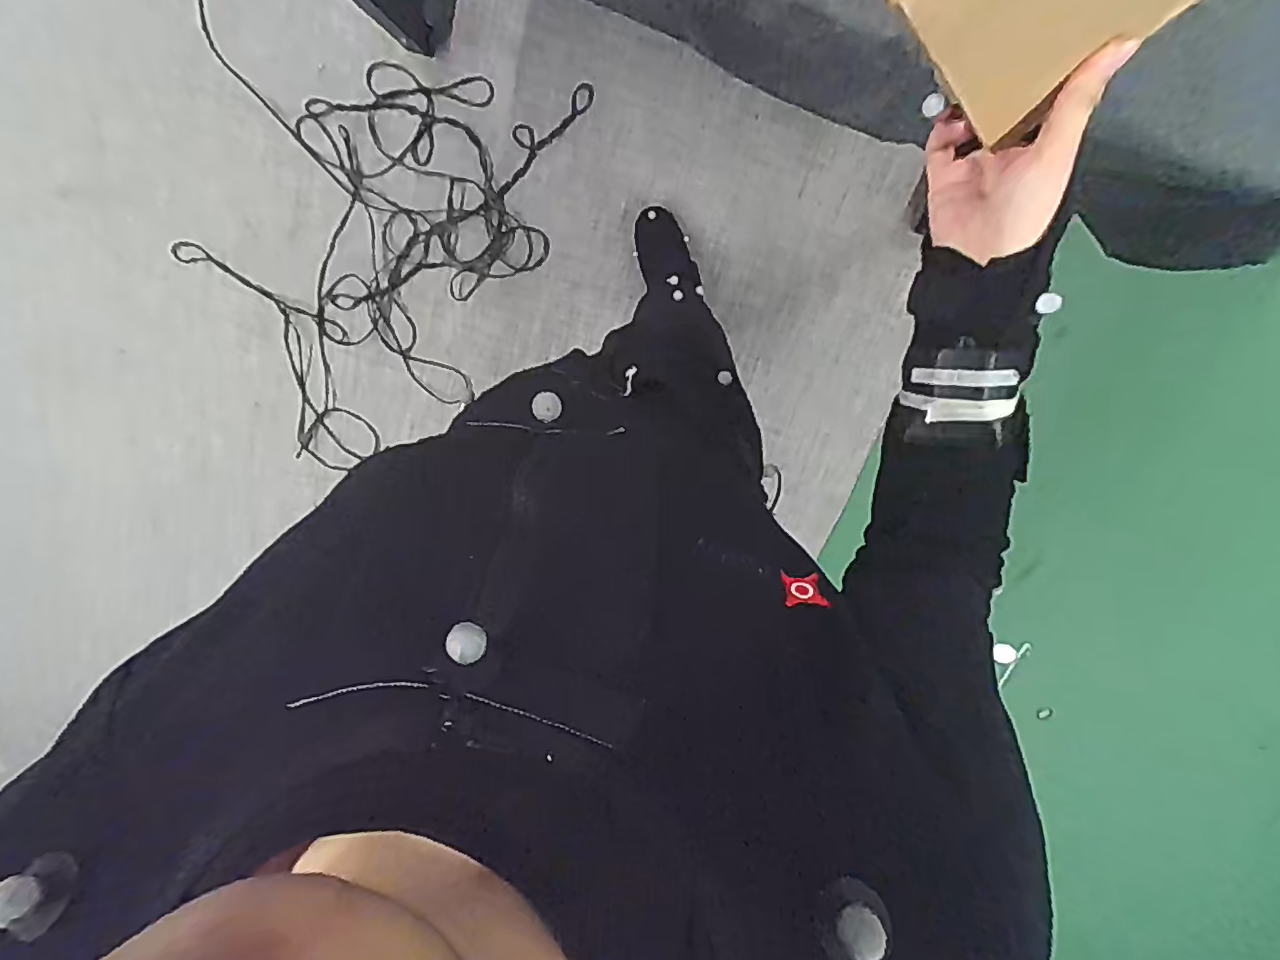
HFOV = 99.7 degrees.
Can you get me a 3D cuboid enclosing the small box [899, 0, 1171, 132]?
[{"bbox_3d":[0.164,-0.291,0.208,0.168,0.179,0.176,-36,74,41],"label":"small box"}]
